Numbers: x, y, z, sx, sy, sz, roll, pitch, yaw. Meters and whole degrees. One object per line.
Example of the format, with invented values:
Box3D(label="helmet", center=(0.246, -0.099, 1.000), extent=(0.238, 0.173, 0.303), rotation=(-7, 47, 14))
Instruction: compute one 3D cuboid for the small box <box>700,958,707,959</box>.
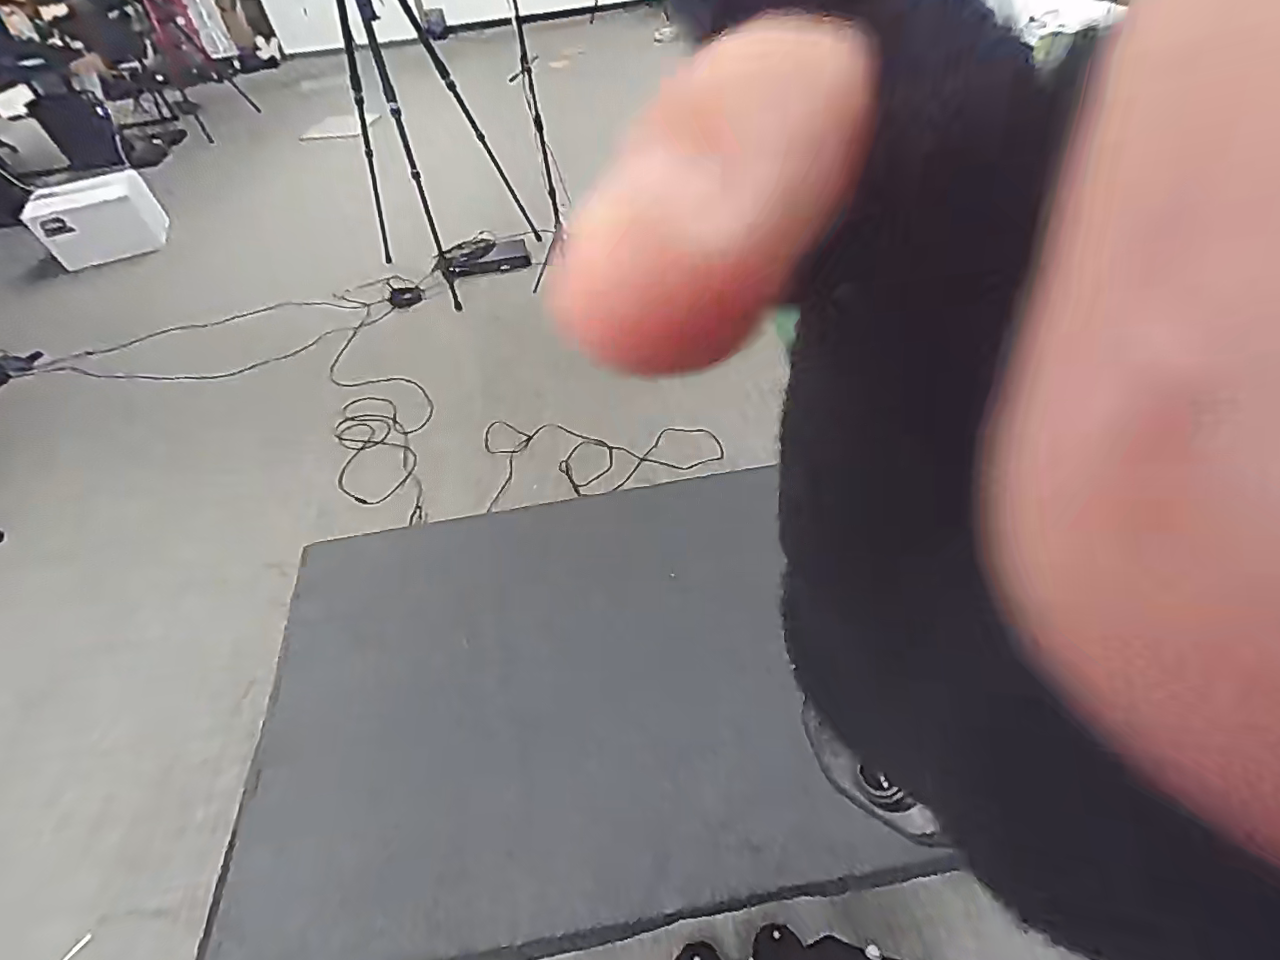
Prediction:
Box3D(label="small box", center=(0.132, 1.017, 0.981), extent=(0.179, 0.176, 0.168), rotation=(9, 61, 35))
